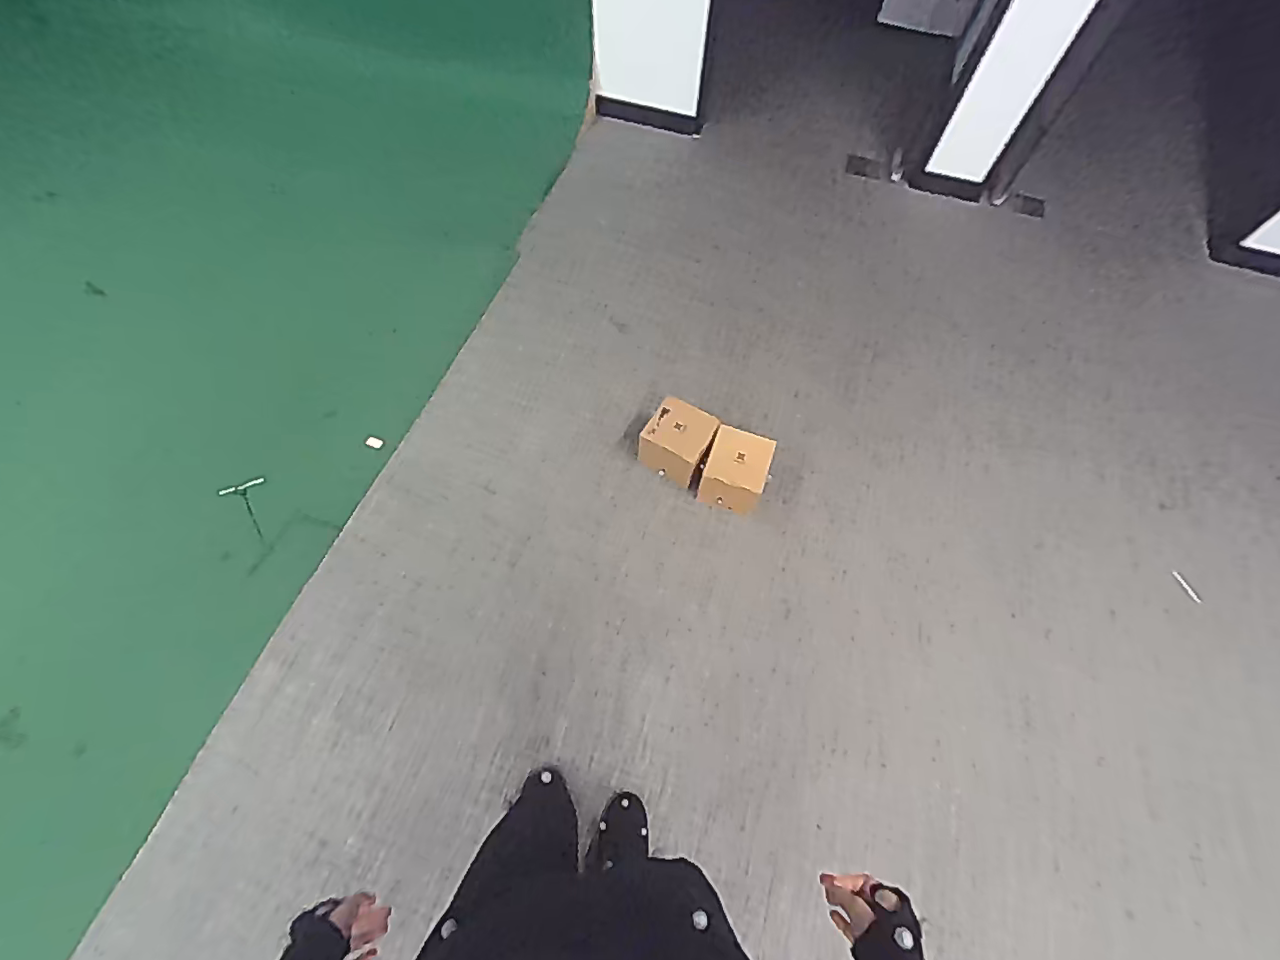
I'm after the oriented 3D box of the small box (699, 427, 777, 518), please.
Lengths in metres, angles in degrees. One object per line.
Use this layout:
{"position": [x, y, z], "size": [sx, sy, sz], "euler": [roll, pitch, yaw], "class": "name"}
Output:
{"position": [0.275, -0.019, 1.549], "size": [0.168, 0.176, 0.179], "euler": [18, 66, 7], "class": "small box"}
